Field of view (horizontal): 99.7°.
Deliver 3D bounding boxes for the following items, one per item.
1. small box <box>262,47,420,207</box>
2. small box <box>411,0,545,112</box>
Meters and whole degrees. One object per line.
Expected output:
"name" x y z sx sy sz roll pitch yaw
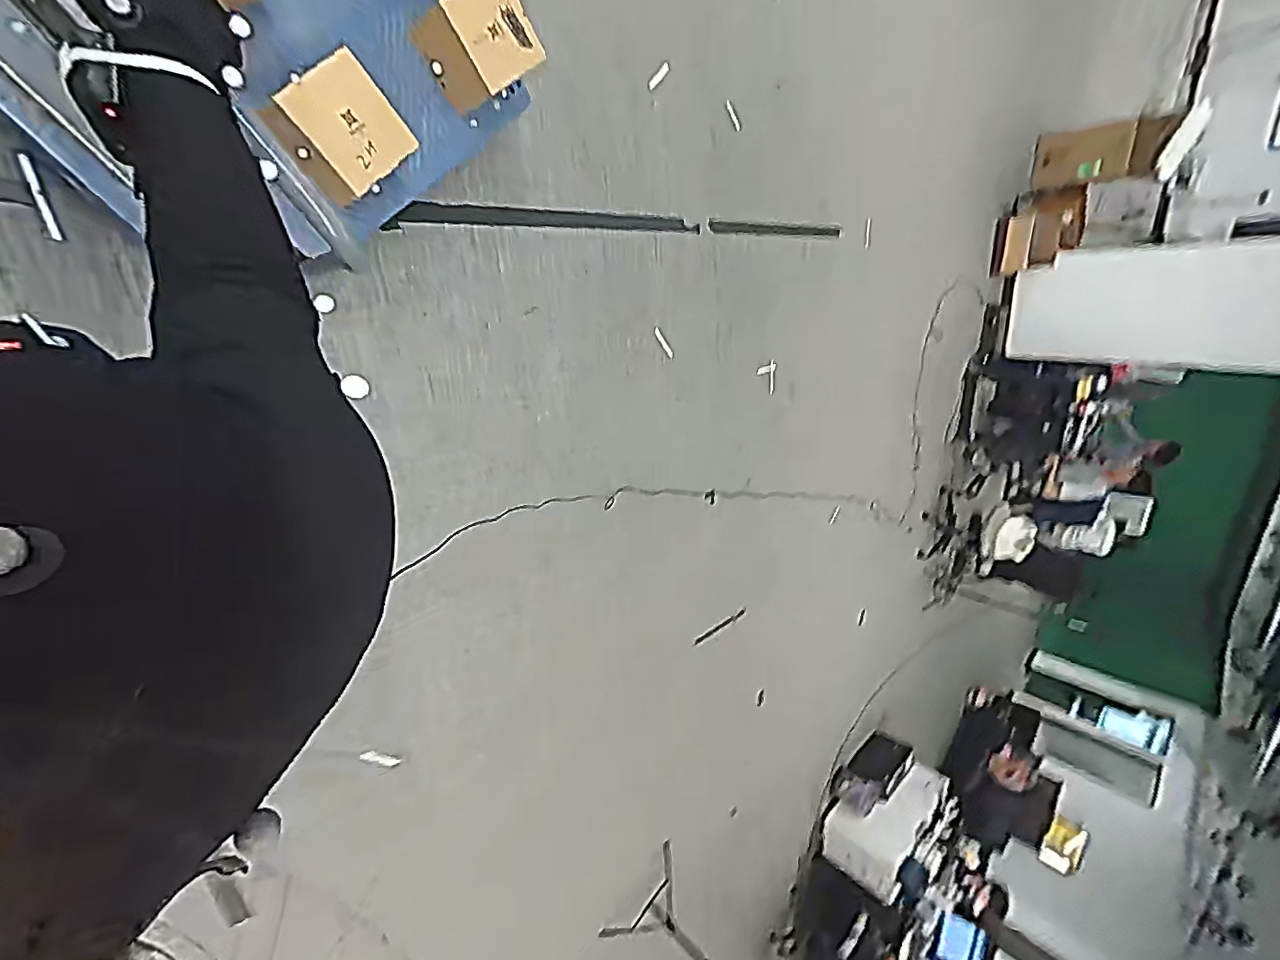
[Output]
"small box" -0.560 -0.645 1.009 0.168 0.176 0.179 -54 132 -18
"small box" -0.343 -0.920 1.140 0.179 0.176 0.168 -51 131 -20
